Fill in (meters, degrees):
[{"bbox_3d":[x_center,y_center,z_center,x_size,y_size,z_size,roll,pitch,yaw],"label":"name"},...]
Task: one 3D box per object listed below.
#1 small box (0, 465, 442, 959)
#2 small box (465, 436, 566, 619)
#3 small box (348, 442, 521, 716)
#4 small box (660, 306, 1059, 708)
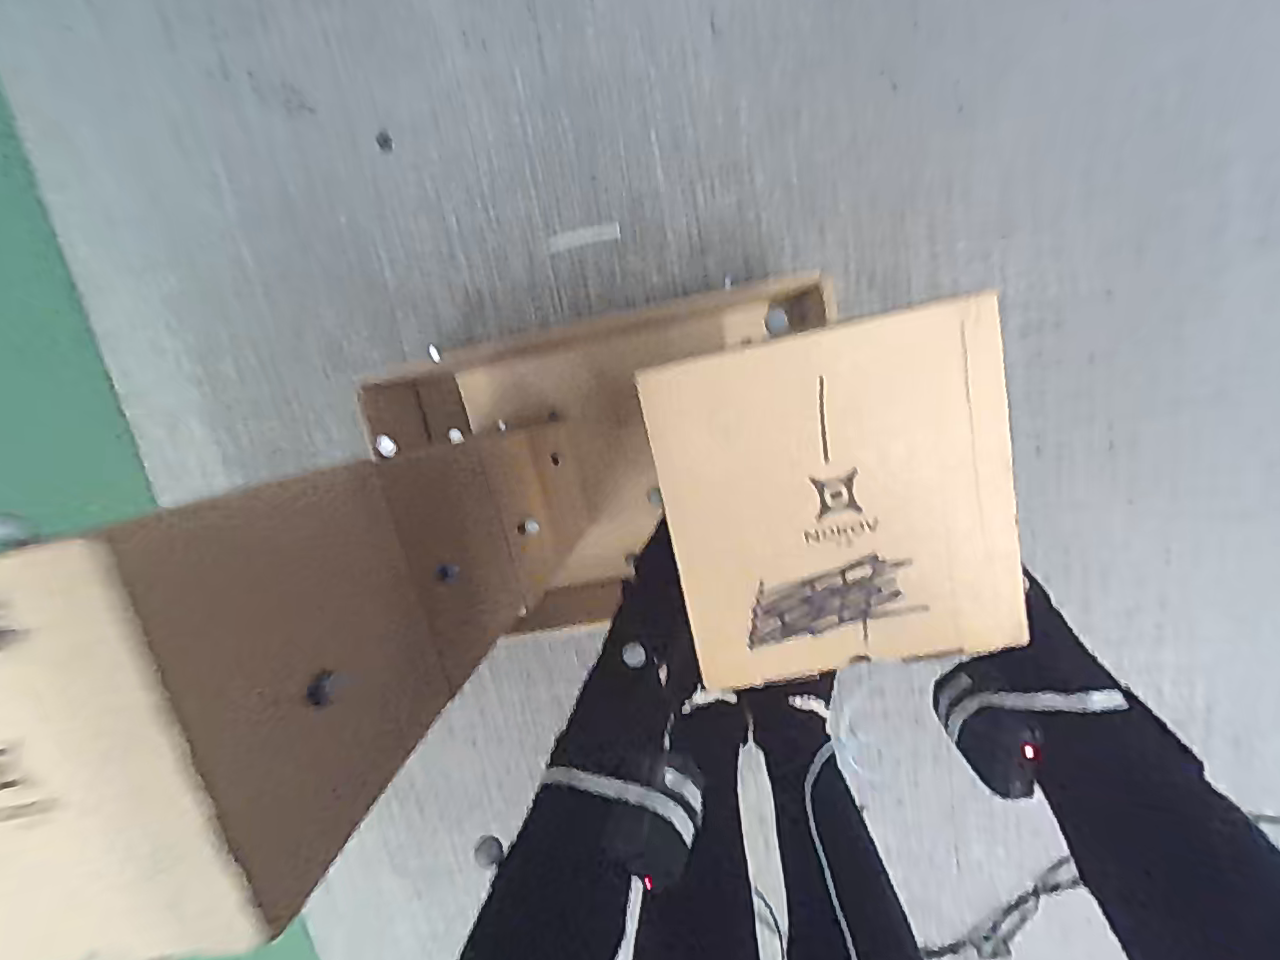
[{"bbox_3d":[-0.232,0.104,0.286,0.168,0.176,0.179,-13,100,7],"label":"small box"},{"bbox_3d":[-0.195,0.051,0.606,0.168,0.176,0.179,-11,99,8],"label":"small box"},{"bbox_3d":[-0.216,0.077,0.446,0.168,0.176,0.179,-12,99,8],"label":"small box"},{"bbox_3d":[0.107,0.002,0.324,0.168,0.176,0.179,-9,103,5],"label":"small box"}]
